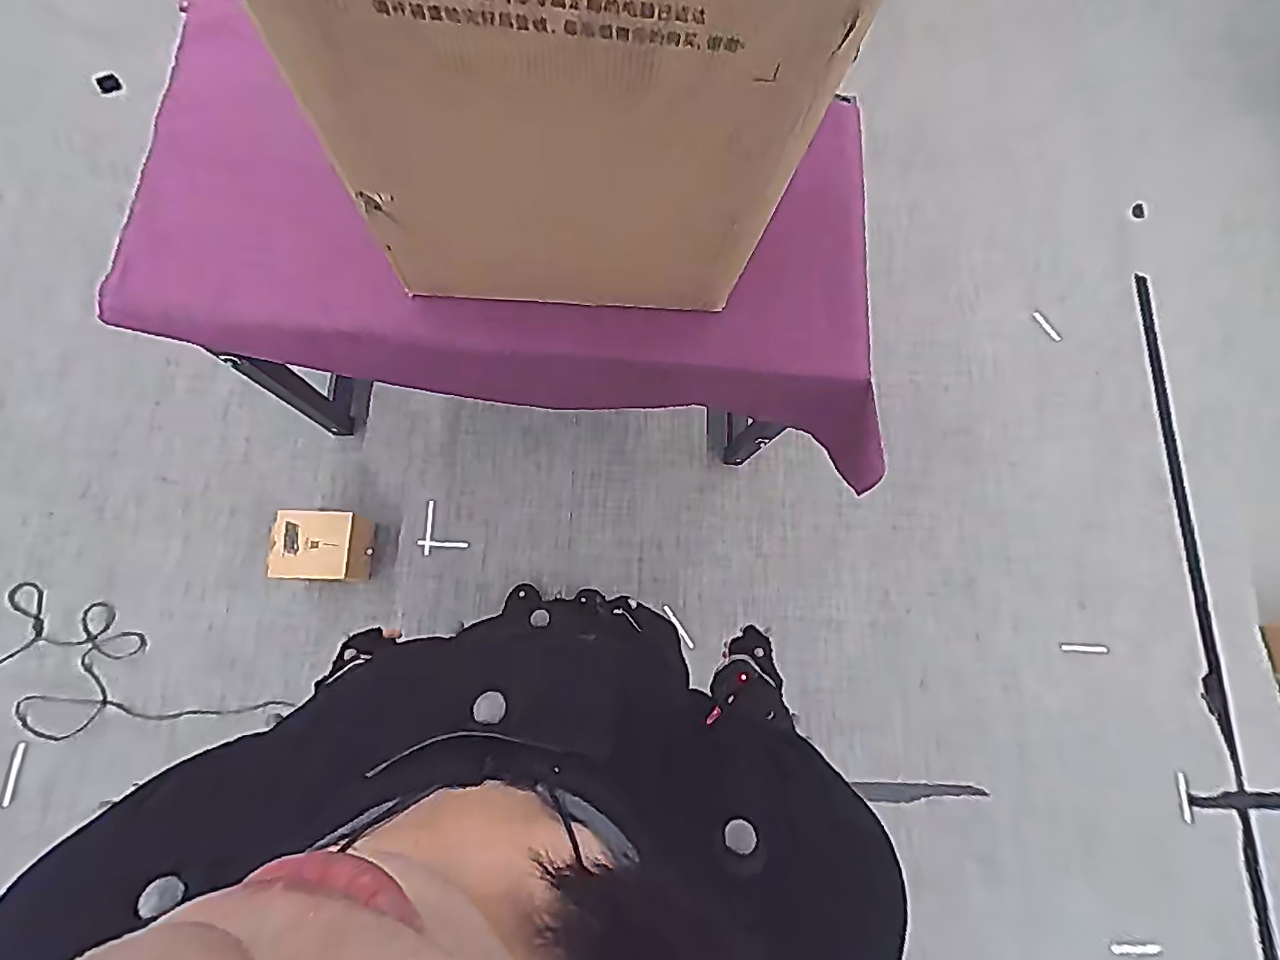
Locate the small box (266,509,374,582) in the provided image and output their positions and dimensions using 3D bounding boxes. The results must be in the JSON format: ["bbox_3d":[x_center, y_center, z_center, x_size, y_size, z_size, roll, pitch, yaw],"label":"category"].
[{"bbox_3d":[-0.803,0.172,1.374,0.179,0.176,0.168,3,78,-8],"label":"small box"}]
